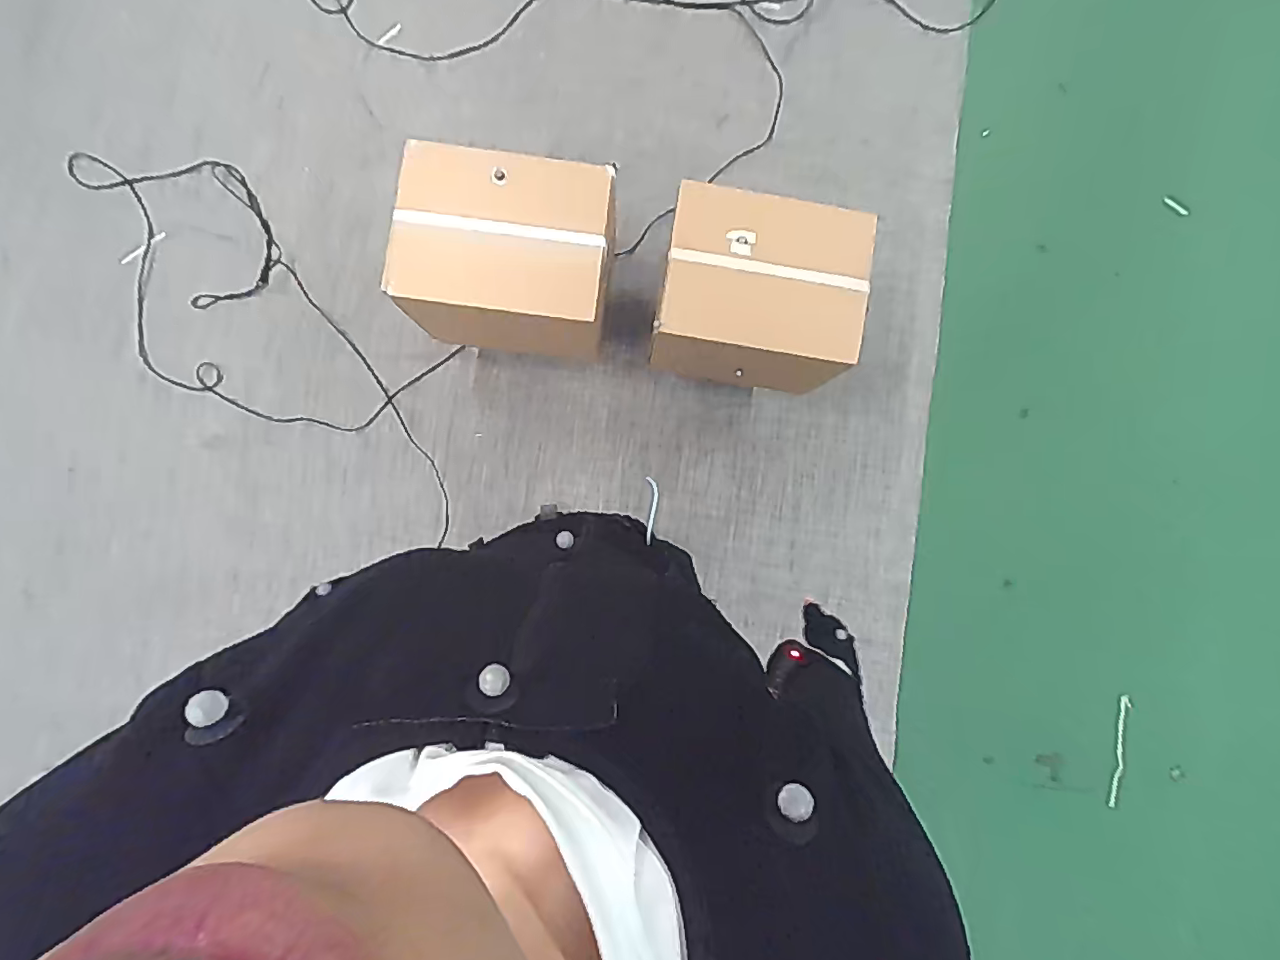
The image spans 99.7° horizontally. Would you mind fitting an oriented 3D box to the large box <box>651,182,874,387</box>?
[{"bbox_3d":[0.253,-0.414,1.228,0.408,0.320,0.320,9,87,-2],"label":"large box"}]
